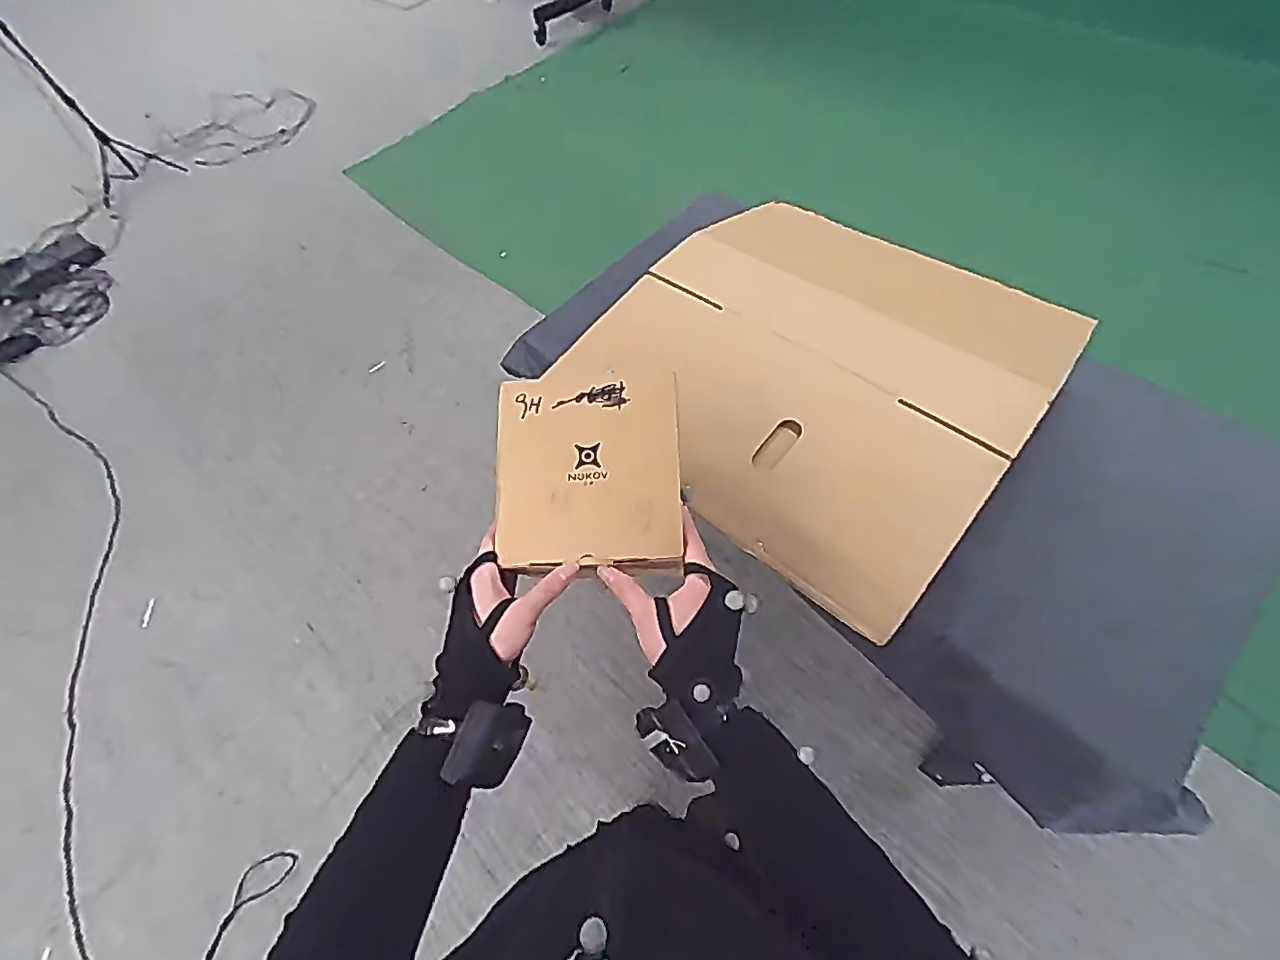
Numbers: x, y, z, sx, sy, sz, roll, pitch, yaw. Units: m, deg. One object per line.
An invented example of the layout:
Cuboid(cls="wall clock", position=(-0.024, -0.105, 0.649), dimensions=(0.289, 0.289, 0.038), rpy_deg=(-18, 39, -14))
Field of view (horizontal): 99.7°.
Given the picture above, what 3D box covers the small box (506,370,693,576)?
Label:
Cuboid(cls="small box", position=(-0.034, 0.007, 0.569), dimensions=(0.168, 0.176, 0.179), rpy_deg=(-5, 75, 5))
